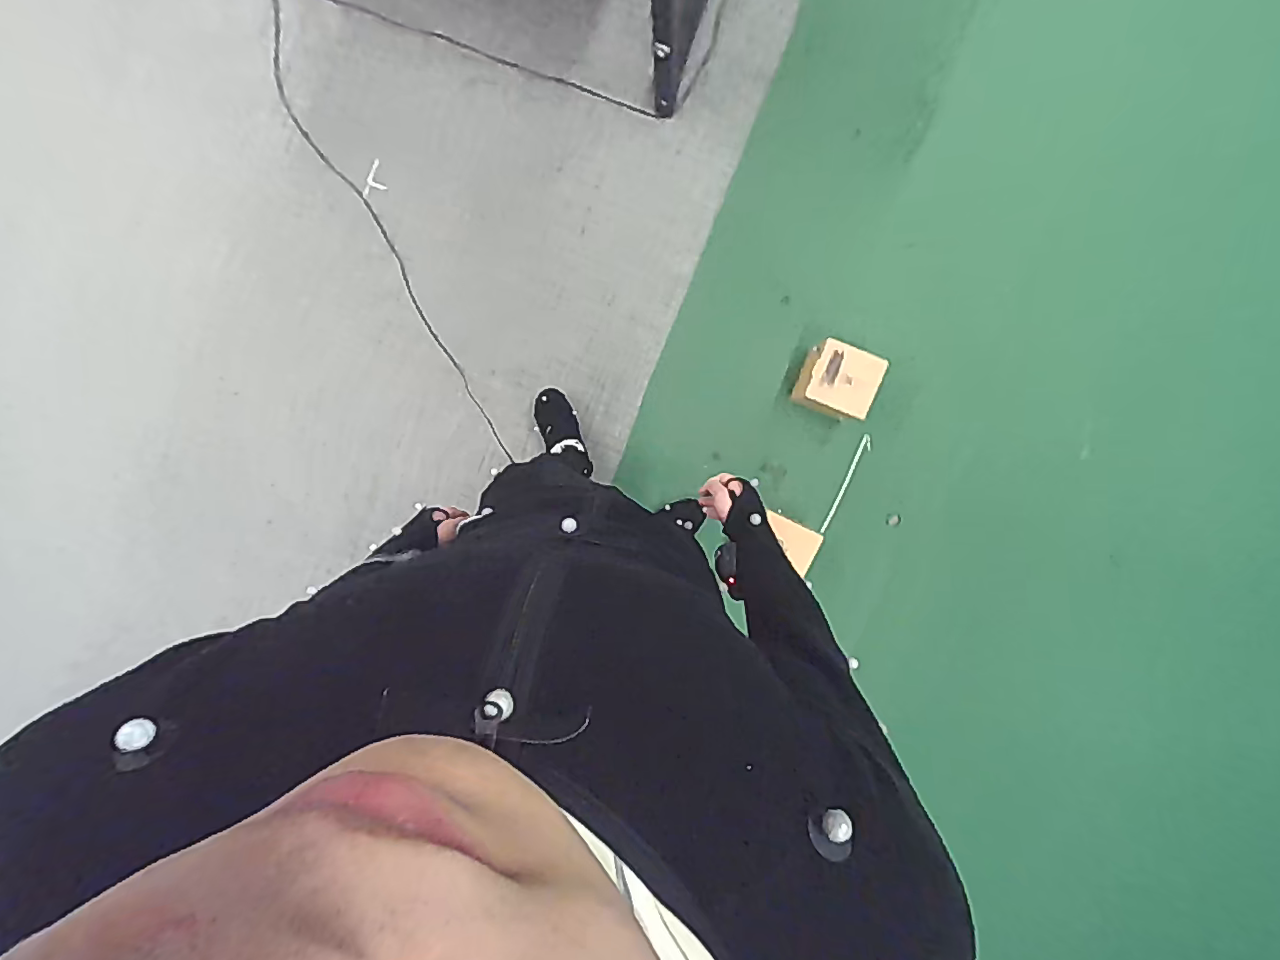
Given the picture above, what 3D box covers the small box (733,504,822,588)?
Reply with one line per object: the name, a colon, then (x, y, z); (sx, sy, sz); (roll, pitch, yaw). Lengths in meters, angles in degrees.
small box: (0.386, 0.179, 1.547); (0.179, 0.176, 0.168); (26, 96, 1)
